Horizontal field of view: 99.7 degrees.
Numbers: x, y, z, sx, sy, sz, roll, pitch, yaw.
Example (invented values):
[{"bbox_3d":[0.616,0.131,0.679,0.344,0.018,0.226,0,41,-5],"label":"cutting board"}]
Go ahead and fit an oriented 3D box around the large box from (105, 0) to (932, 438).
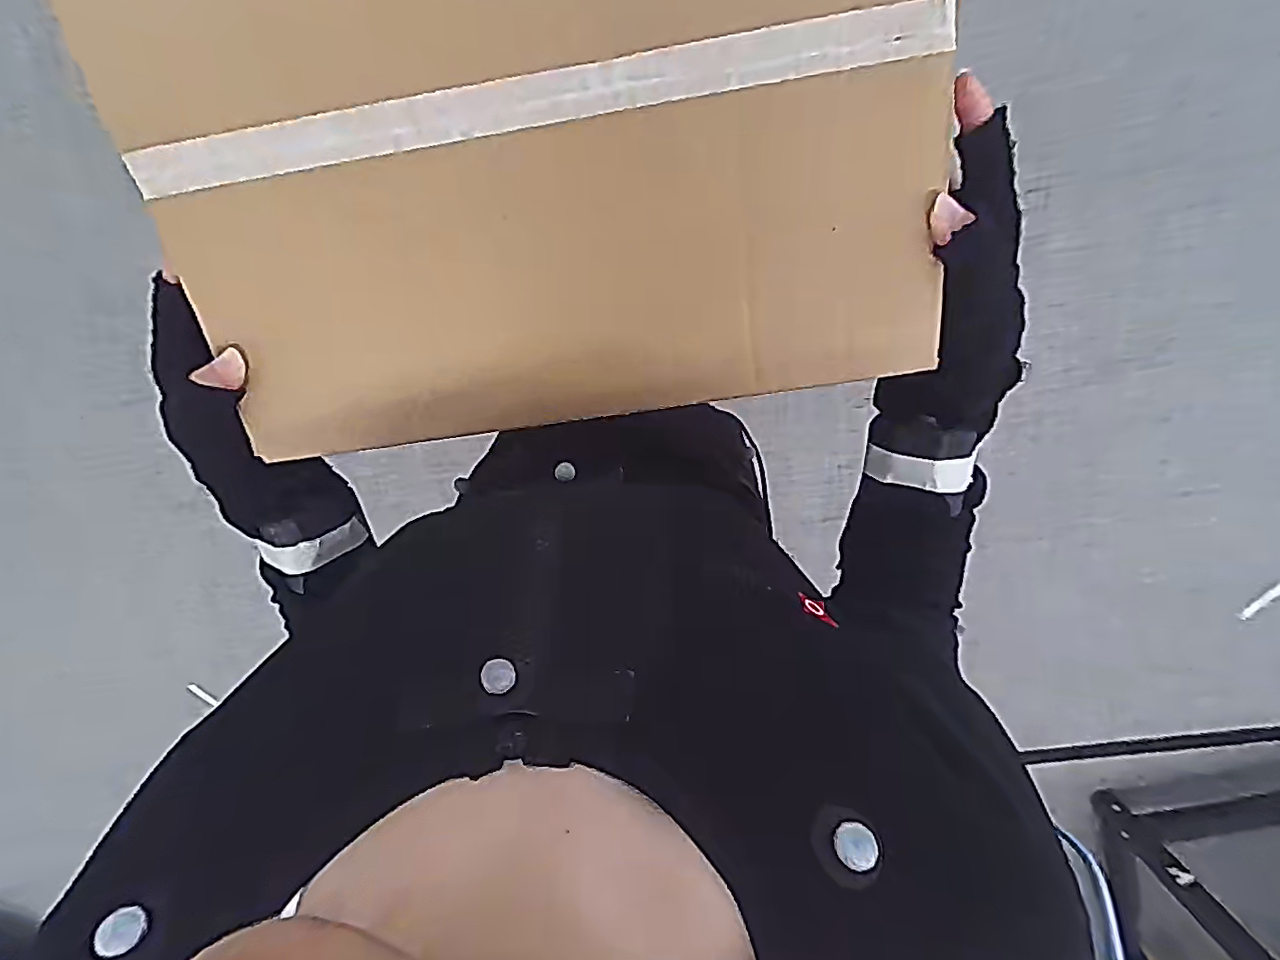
[{"bbox_3d":[-0.053,-0.247,0.414,0.408,0.320,0.320,-8,112,4],"label":"large box"}]
